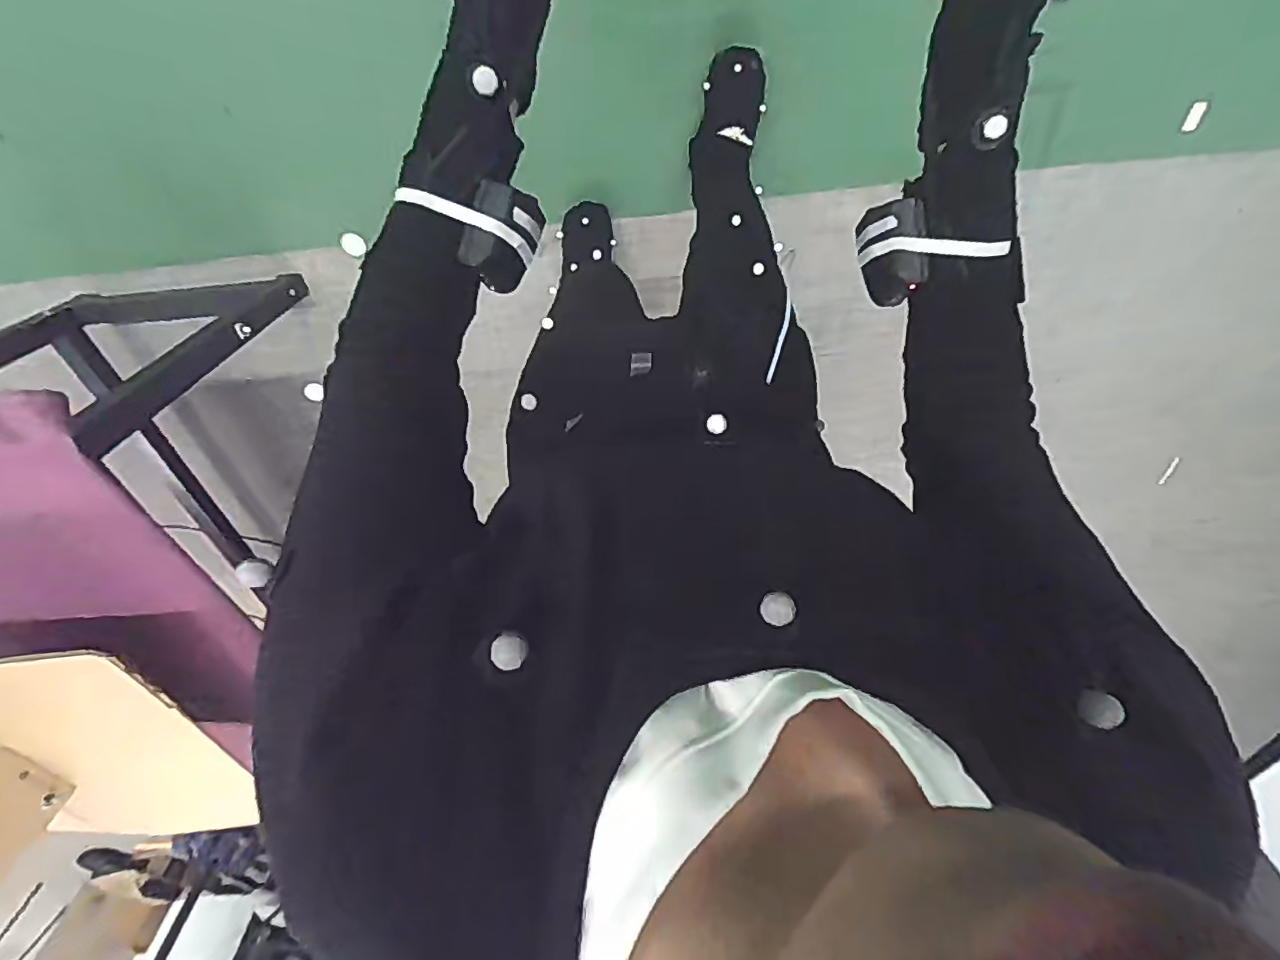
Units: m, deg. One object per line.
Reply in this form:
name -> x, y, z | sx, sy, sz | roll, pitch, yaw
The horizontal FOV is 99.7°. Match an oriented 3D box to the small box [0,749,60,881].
small box -> -1.113, 0.543, 0.869 | 0.179, 0.176, 0.168 | -1, 129, 5
